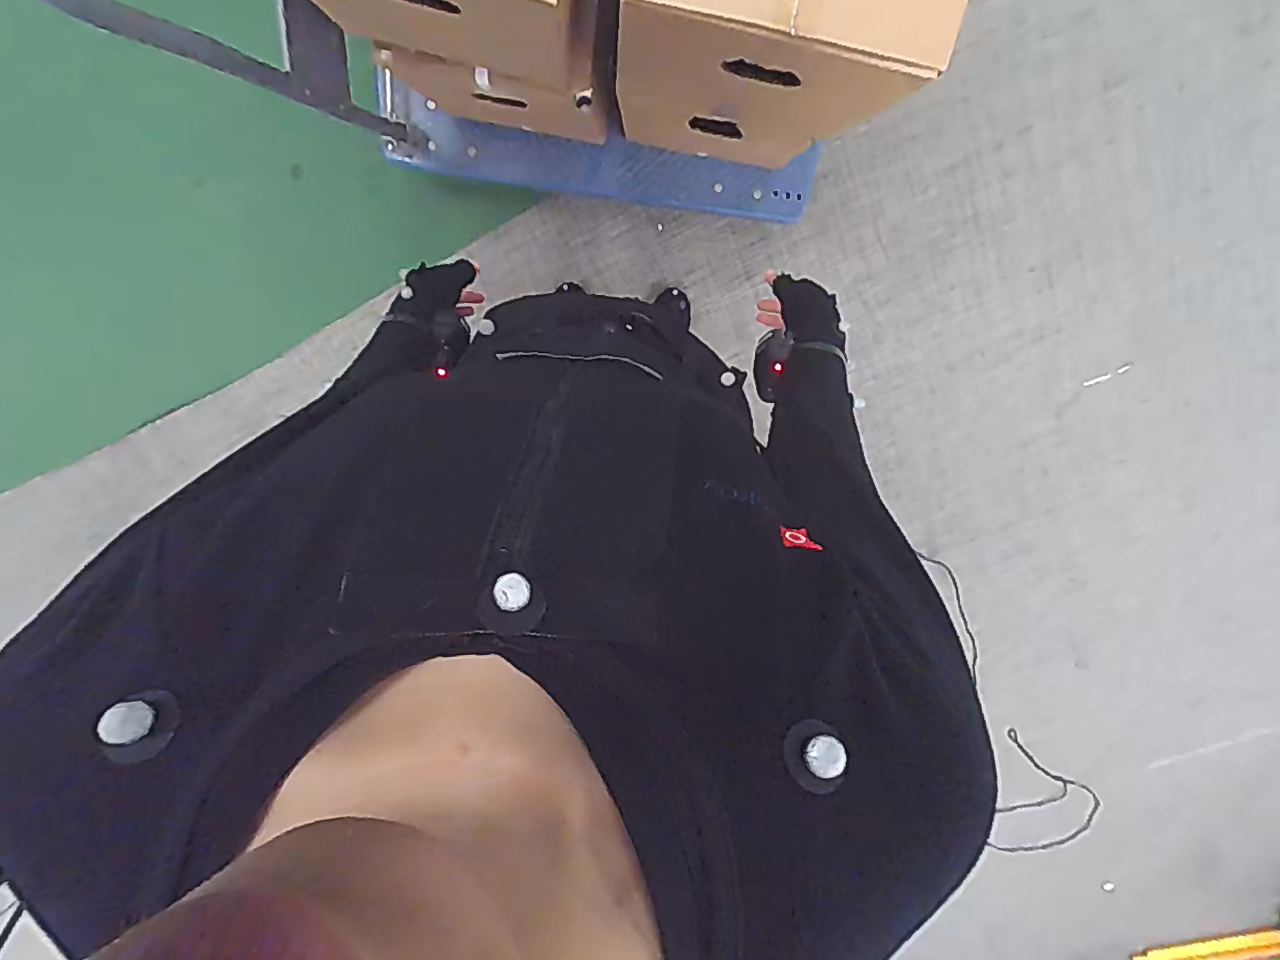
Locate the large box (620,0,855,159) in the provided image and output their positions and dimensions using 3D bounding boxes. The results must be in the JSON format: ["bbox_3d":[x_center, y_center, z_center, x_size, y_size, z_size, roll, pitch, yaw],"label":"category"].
[{"bbox_3d":[0.153,-0.775,0.850,0.320,0.320,0.408,9,114,-1],"label":"large box"}]
